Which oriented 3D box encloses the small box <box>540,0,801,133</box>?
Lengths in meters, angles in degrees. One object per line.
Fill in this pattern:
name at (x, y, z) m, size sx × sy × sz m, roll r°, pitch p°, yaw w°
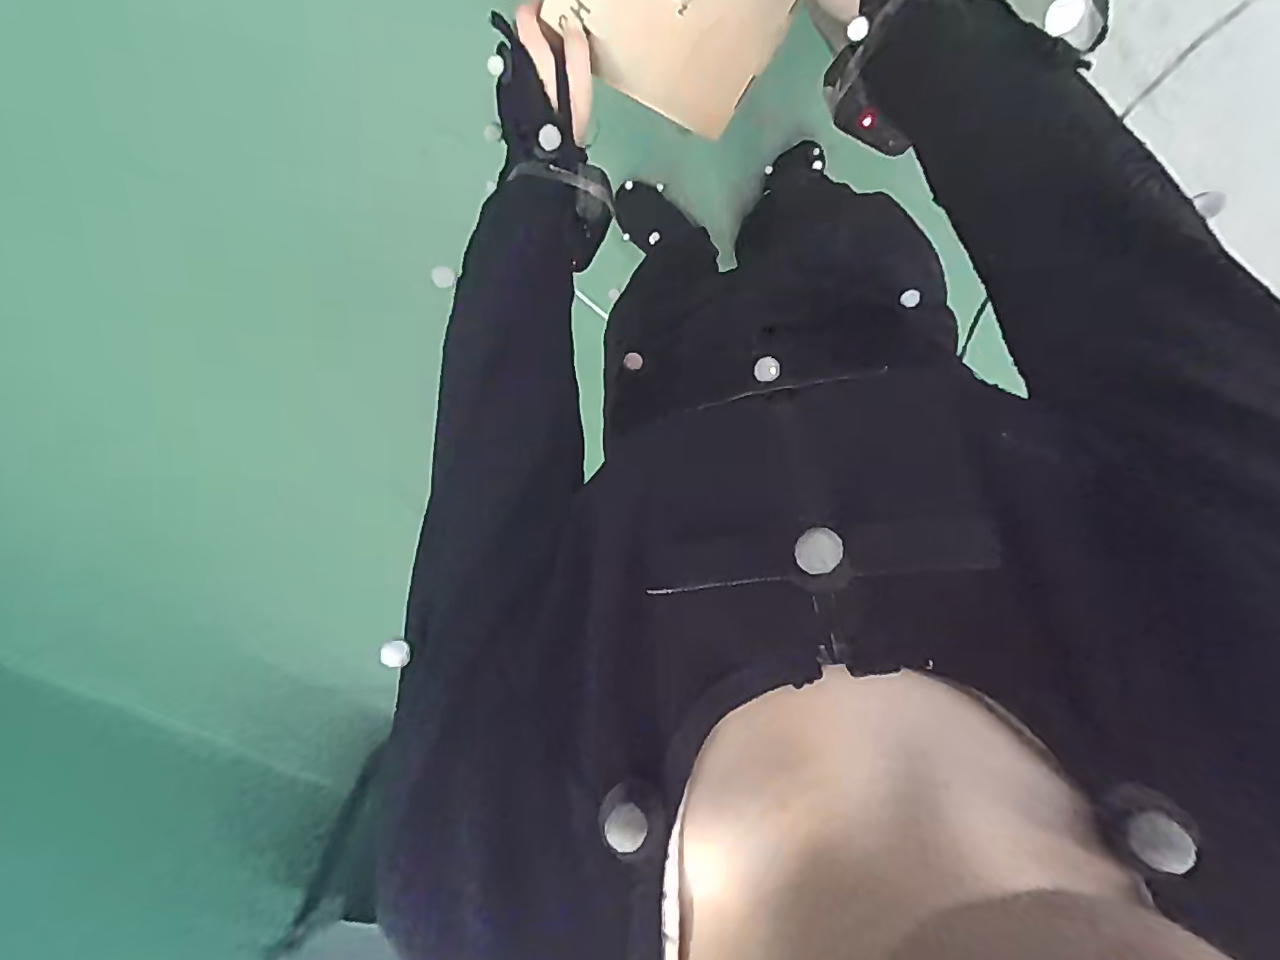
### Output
small box at (0.031, -0.442, 0.448) m, size 0.179 × 0.176 × 0.168 m, roll 15°, pitch 139°, yaw -24°
